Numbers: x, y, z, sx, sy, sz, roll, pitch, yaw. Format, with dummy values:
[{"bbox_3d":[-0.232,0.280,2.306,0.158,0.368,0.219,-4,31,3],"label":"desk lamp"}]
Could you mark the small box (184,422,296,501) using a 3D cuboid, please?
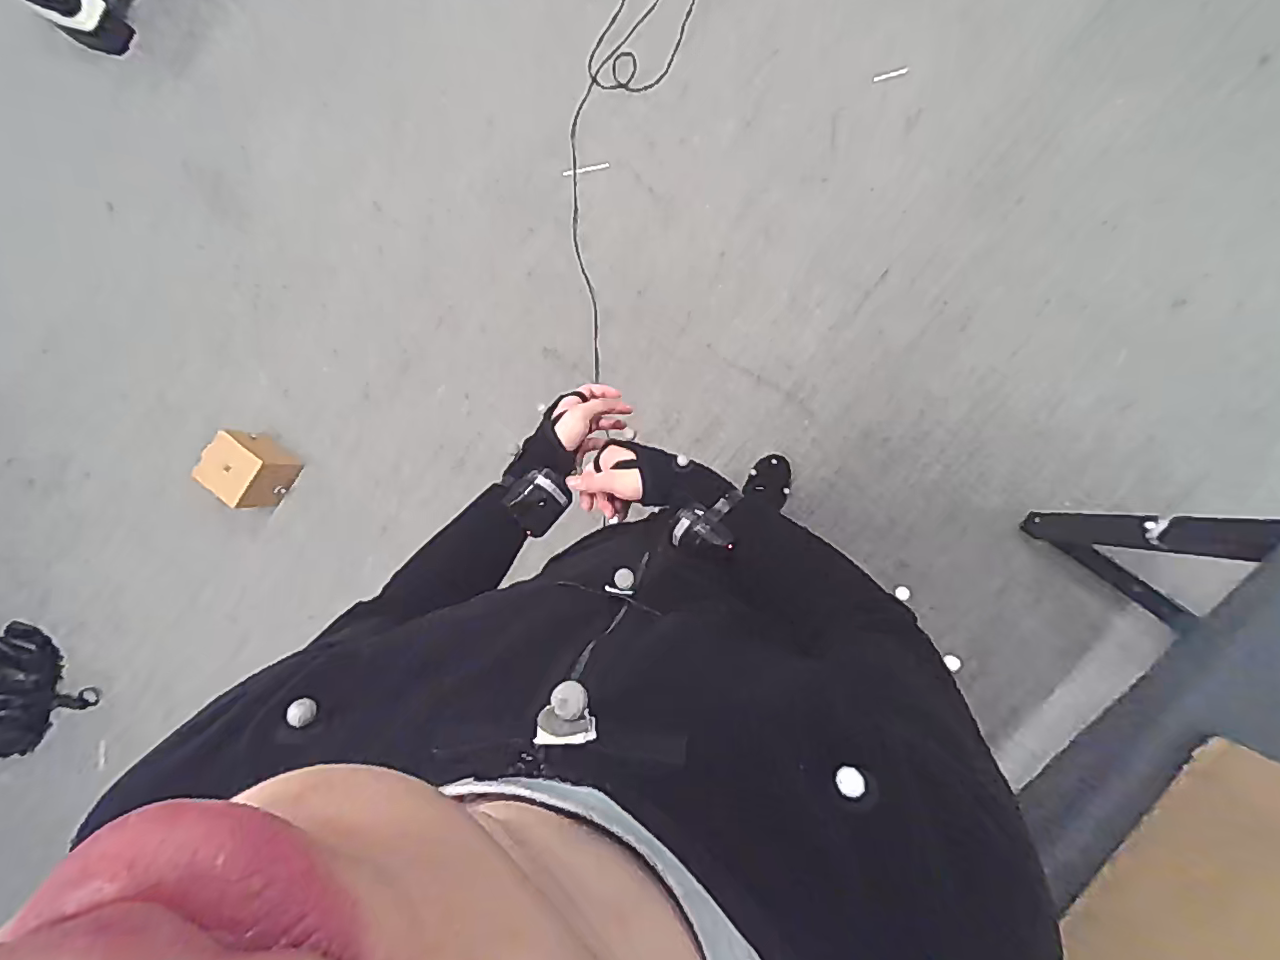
[{"bbox_3d":[-1.194,-0.051,1.625,0.179,0.176,0.168,35,94,5],"label":"small box"}]
